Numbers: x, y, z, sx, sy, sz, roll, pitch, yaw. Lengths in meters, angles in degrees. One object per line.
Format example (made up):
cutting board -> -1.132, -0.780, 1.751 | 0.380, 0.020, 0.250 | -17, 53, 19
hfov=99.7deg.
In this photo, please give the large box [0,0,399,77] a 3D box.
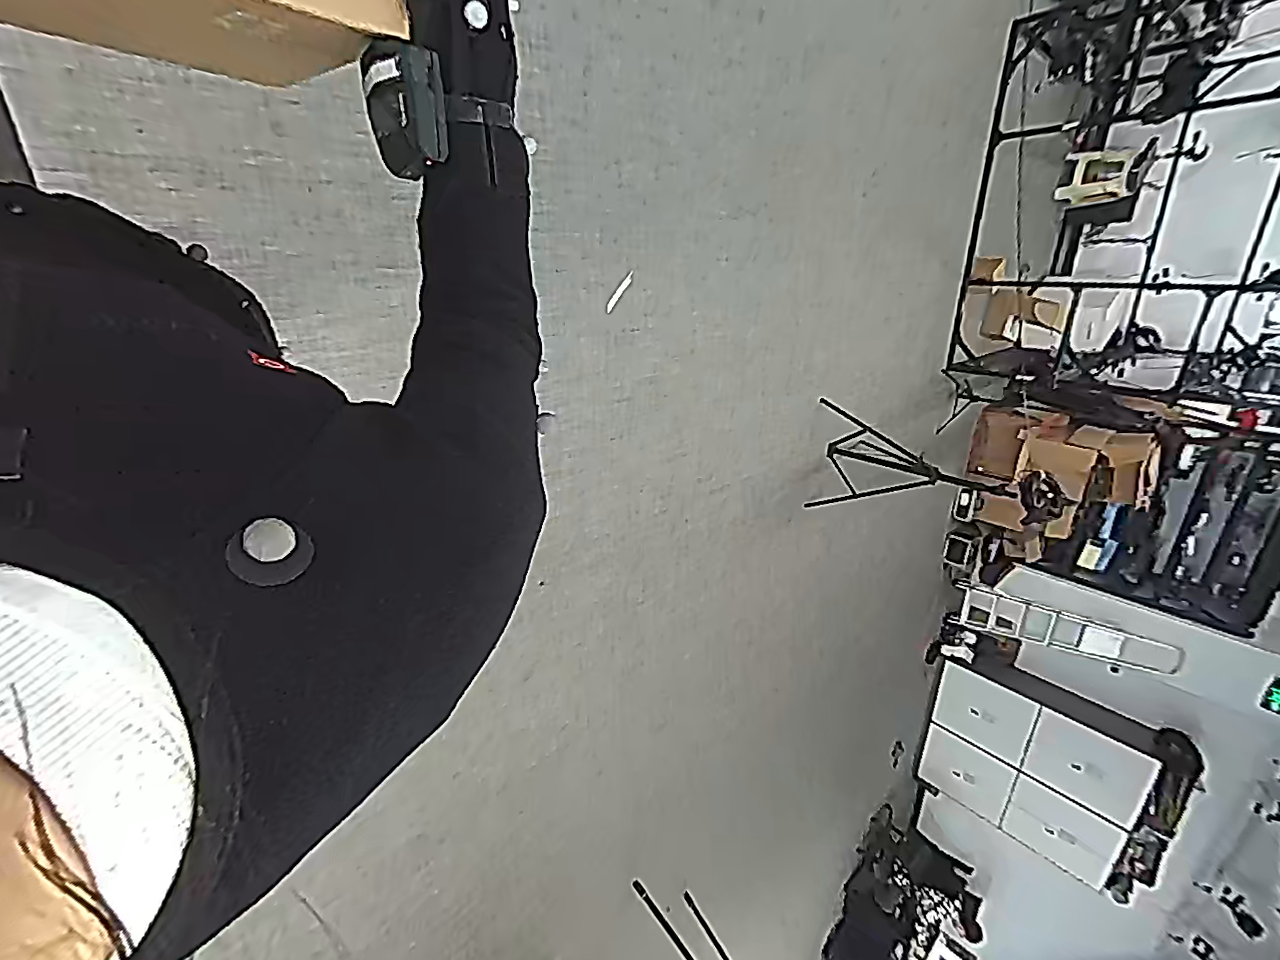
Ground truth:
large box -> -0.379, -0.423, 0.236 | 0.408, 0.320, 0.320 | -16, 125, -41
